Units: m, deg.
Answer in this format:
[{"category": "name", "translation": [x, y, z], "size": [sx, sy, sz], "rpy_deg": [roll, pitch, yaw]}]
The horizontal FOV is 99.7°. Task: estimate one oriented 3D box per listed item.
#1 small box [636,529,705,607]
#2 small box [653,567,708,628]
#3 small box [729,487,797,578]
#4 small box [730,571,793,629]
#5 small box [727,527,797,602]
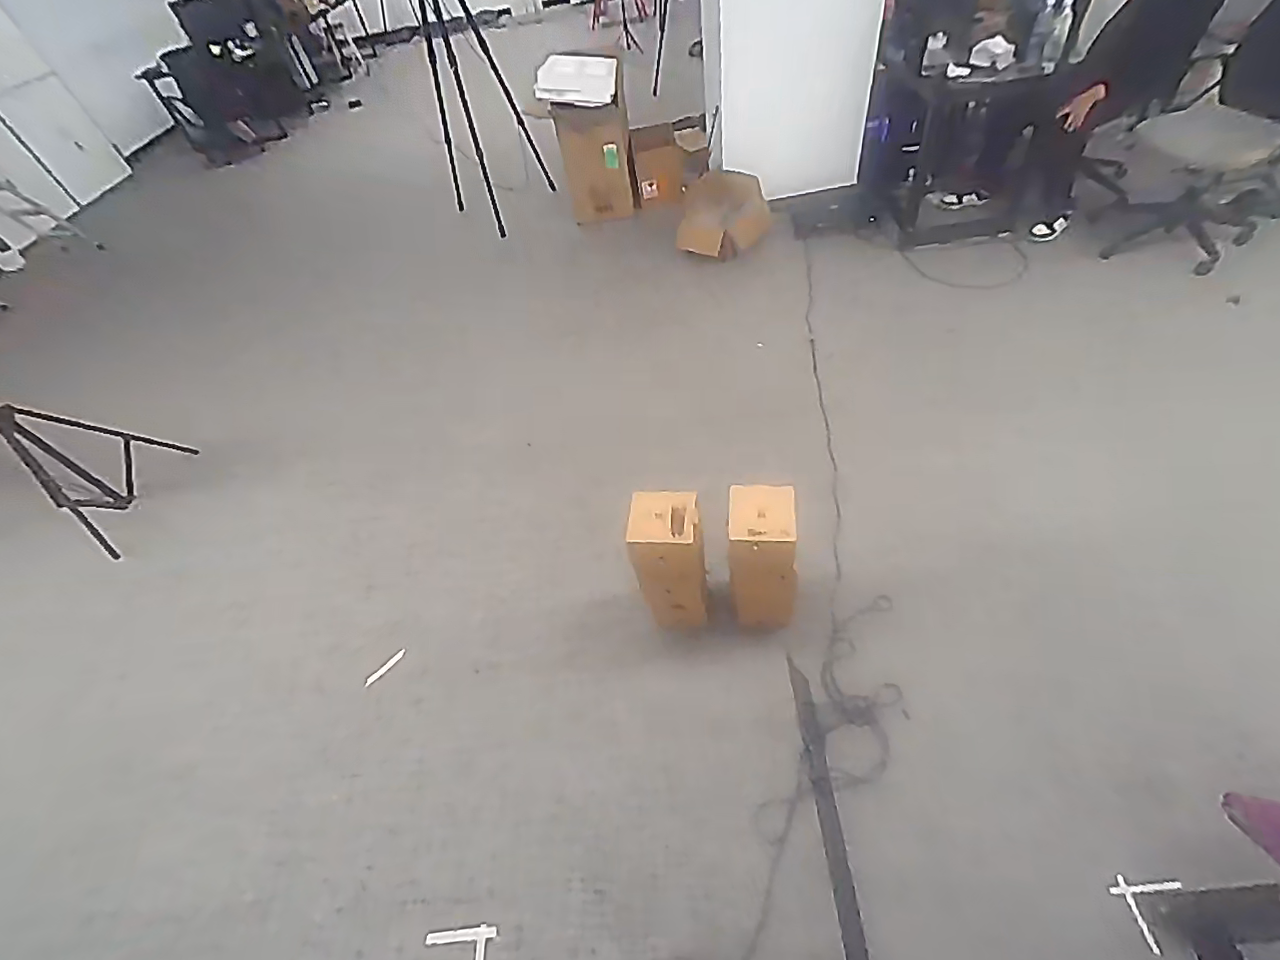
[{"category": "small box", "translation": [0.097, 0.260, 1.580], "size": [0.179, 0.176, 0.168], "rpy_deg": [-1, 50, 12]}, {"category": "small box", "translation": [0.127, 0.352, 1.714], "size": [0.168, 0.176, 0.179], "rpy_deg": [-3, 50, 9]}, {"category": "small box", "translation": [0.321, 0.137, 1.430], "size": [0.168, 0.176, 0.179], "rpy_deg": [0, 49, 11]}, {"category": "small box", "translation": [0.371, 0.343, 1.678], "size": [0.168, 0.176, 0.179], "rpy_deg": [-7, 50, 6]}, {"category": "small box", "translation": [0.347, 0.240, 1.555], "size": [0.179, 0.176, 0.168], "rpy_deg": [-5, 49, 7]}]
